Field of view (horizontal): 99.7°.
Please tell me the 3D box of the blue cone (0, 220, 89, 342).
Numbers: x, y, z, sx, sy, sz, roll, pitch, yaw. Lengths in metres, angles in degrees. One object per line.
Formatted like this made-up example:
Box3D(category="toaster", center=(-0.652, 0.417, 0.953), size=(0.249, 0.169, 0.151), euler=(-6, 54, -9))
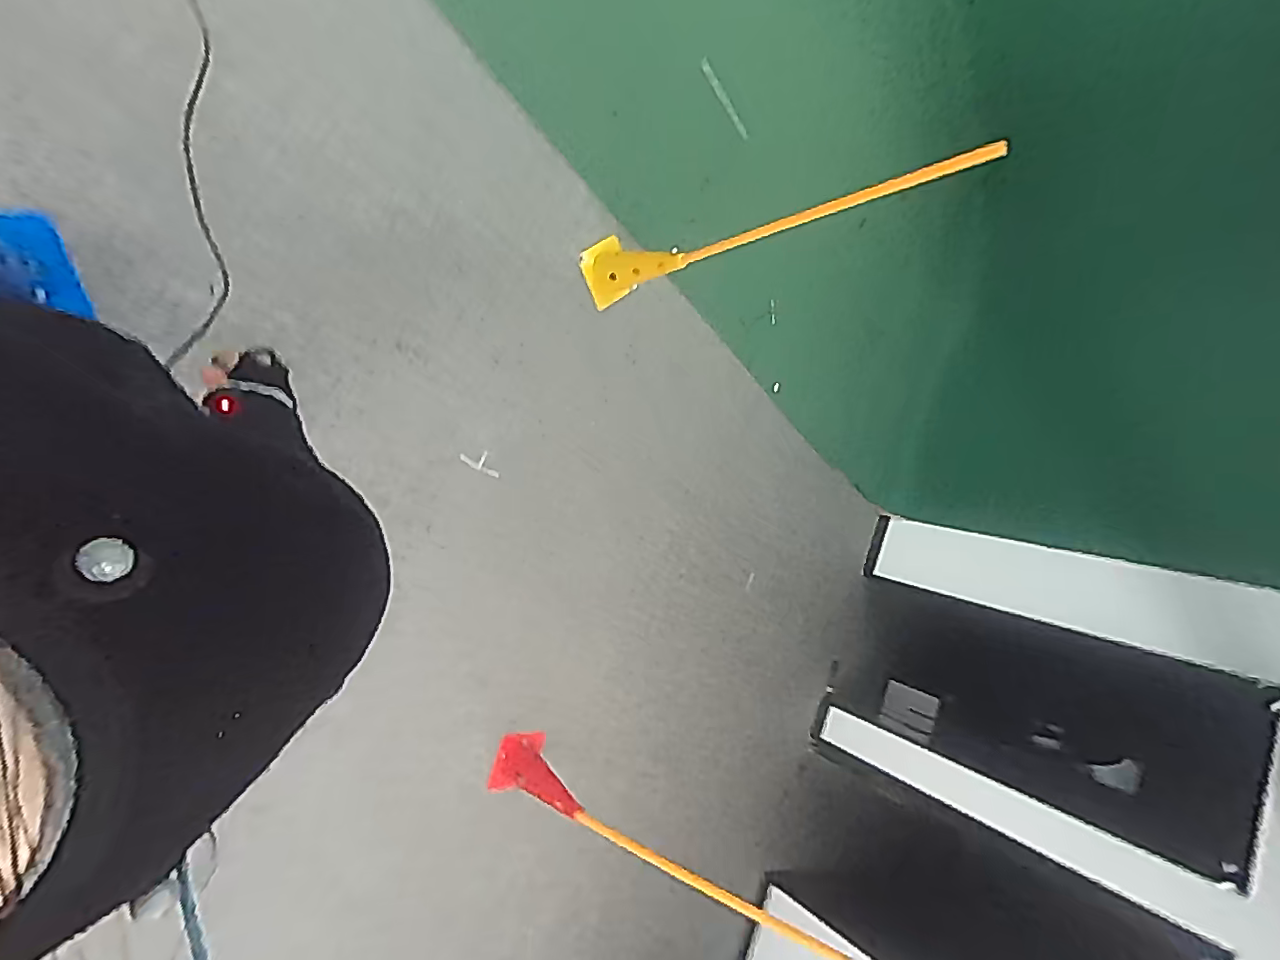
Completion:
Box3D(category="blue cone", center=(-1.014, -0.318, 0.835), size=(0.193, 0.380, 0.192), euler=(-27, 118, -36))
